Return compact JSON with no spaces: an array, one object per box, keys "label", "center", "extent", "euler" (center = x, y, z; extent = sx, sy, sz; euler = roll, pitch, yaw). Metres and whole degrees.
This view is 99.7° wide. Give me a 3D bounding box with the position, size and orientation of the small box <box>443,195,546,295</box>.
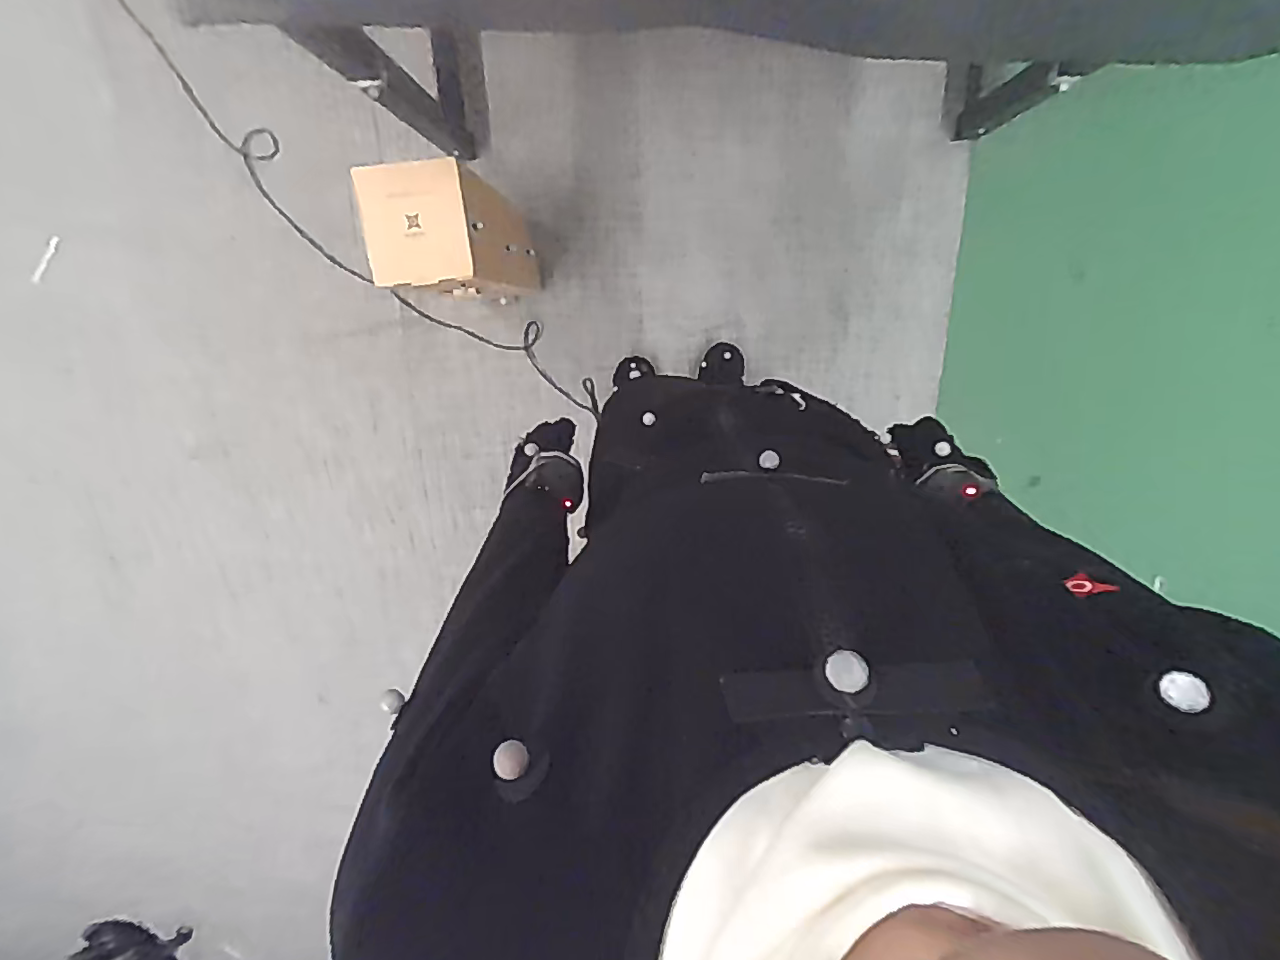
[{"label":"small box","center":[-0.321,-0.525,1.227],"extent":[0.168,0.176,0.179],"euler":[-7,107,5]}]
